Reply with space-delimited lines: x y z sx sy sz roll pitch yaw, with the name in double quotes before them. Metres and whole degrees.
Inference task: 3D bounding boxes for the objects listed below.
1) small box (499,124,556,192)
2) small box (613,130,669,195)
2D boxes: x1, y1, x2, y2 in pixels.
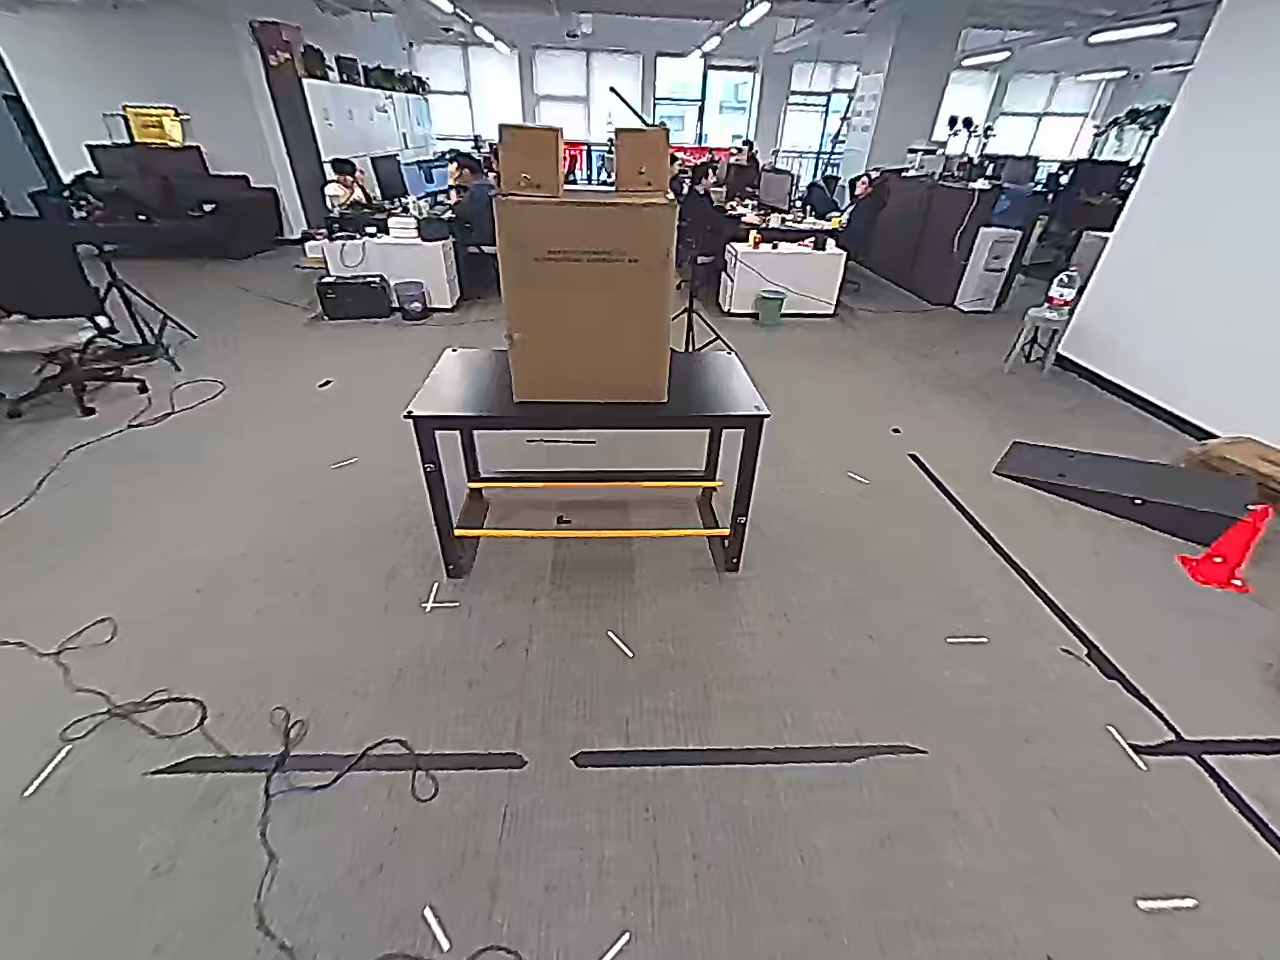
"small box" -0.352 -1.017 1.710 0.168 0.176 0.179 -3 33 -9
"small box" -0.002 -1.008 1.716 0.168 0.176 0.179 -2 32 -3
